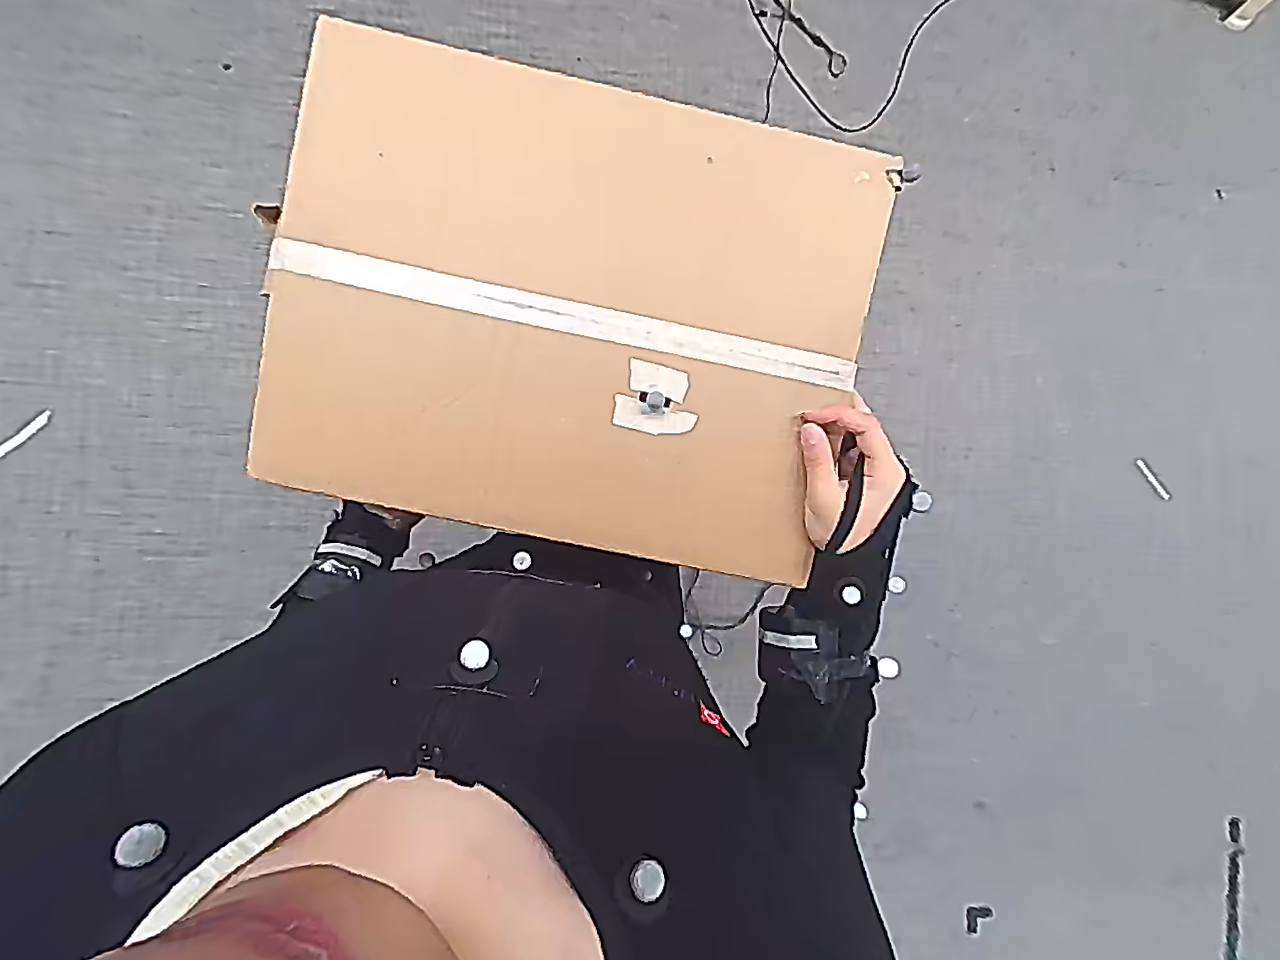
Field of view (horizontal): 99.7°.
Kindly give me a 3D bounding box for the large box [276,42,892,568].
[{"bbox_3d":[-0.048,-0.125,0.534,0.408,0.320,0.320,11,94,-4],"label":"large box"}]
